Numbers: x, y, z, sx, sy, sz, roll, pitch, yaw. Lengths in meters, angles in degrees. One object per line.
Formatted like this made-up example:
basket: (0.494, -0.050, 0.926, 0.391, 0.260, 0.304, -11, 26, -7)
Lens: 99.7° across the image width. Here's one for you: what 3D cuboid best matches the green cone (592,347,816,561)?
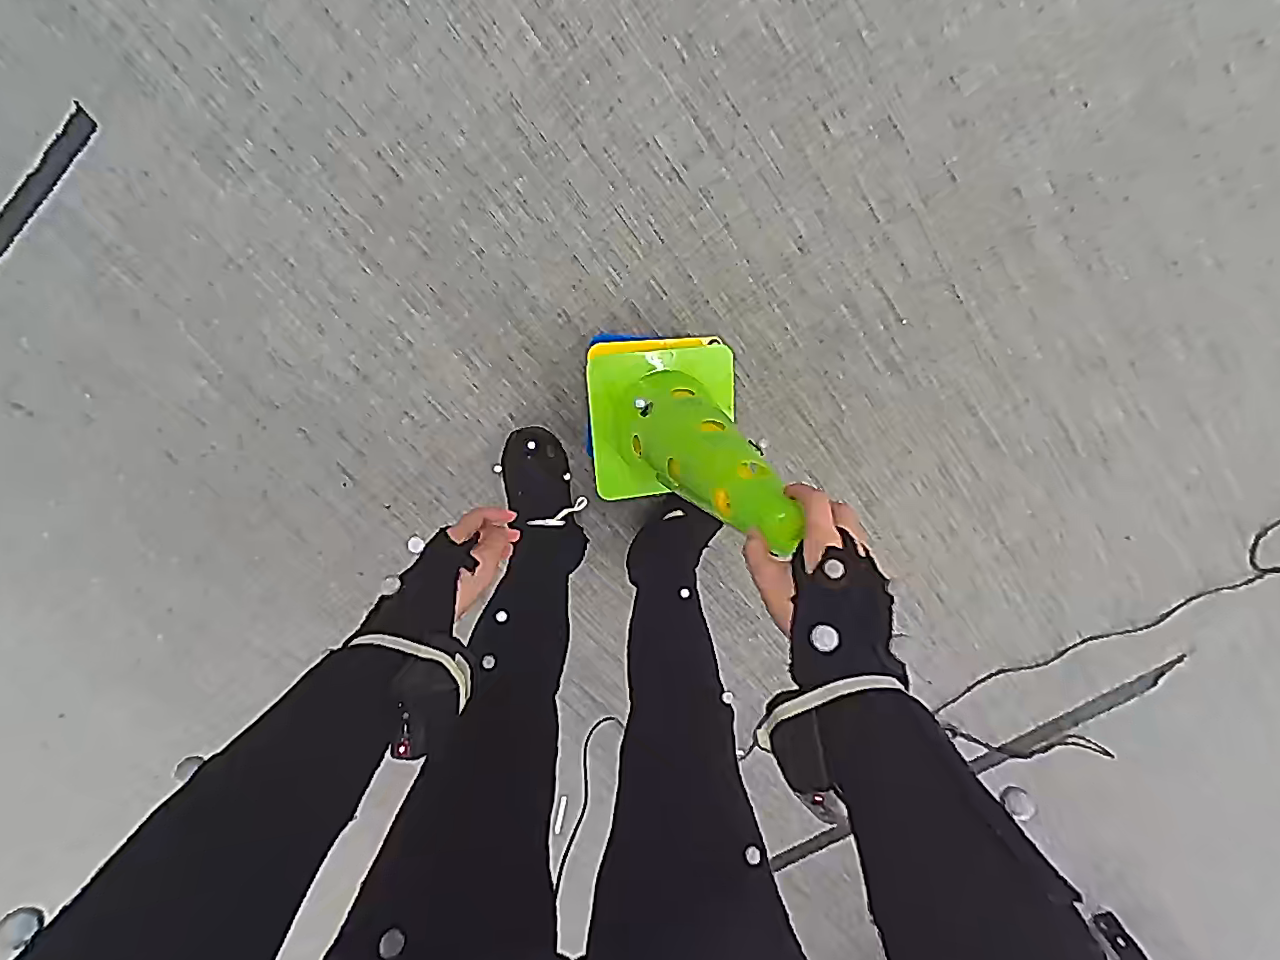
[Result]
green cone: (0.079, -0.018, 0.569, 0.202, 0.368, 0.200, -8, 110, -11)
